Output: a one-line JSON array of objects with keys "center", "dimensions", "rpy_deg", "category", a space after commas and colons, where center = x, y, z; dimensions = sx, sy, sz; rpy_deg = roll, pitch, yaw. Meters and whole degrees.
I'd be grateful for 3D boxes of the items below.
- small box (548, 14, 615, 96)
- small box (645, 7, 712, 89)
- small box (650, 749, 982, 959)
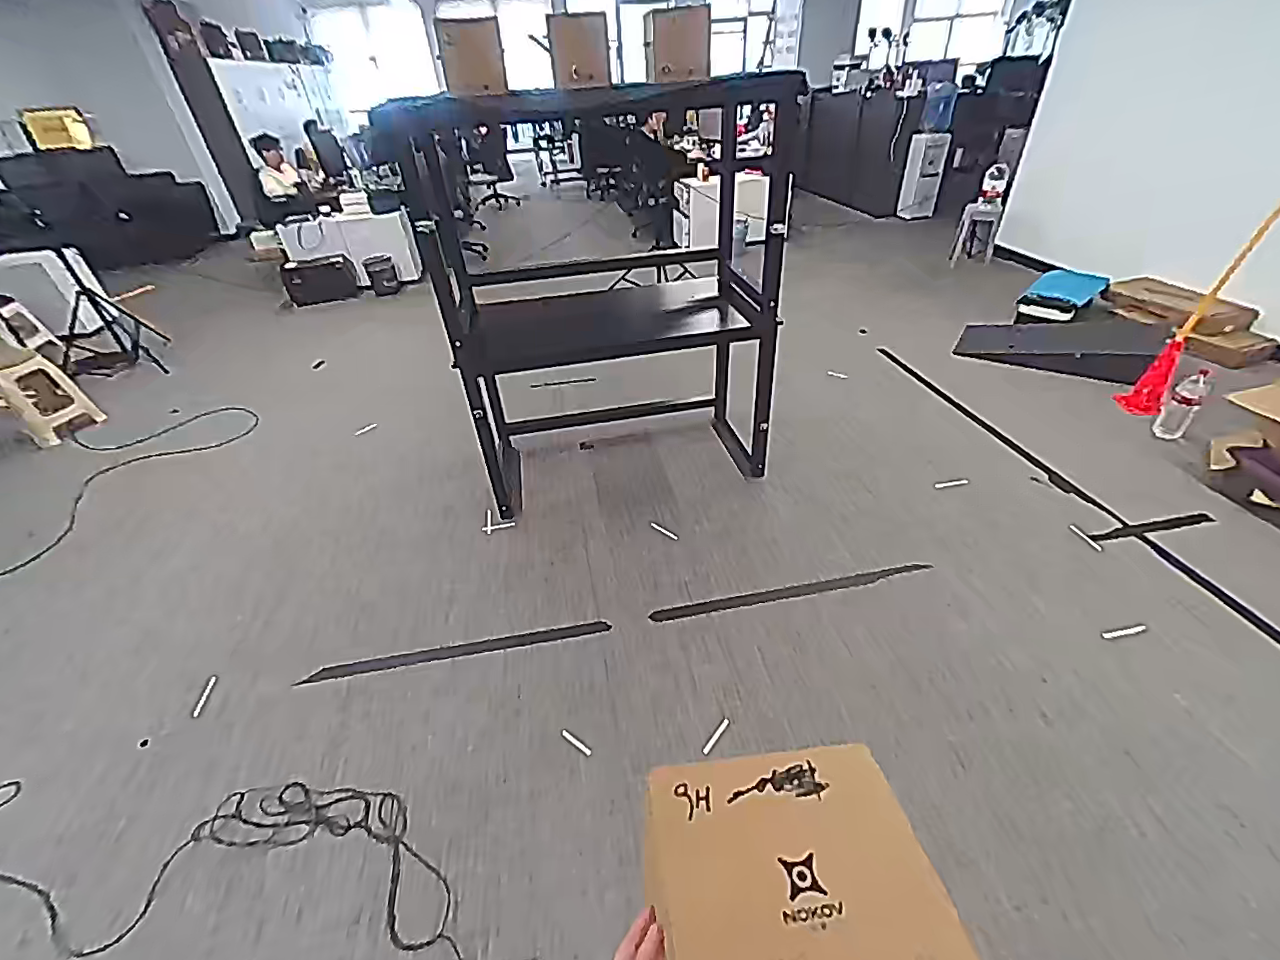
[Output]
[{"center": [-0.165, -1.194, 1.527], "dimensions": [0.168, 0.176, 0.179], "rpy_deg": [-8, 36, -4], "category": "small box"}, {"center": [0.111, -1.243, 1.564], "dimensions": [0.168, 0.176, 0.179], "rpy_deg": [-8, 36, -5], "category": "small box"}, {"center": [0.099, 0.313, 0.356], "dimensions": [0.168, 0.176, 0.179], "rpy_deg": [-2, 32, -7], "category": "small box"}]
